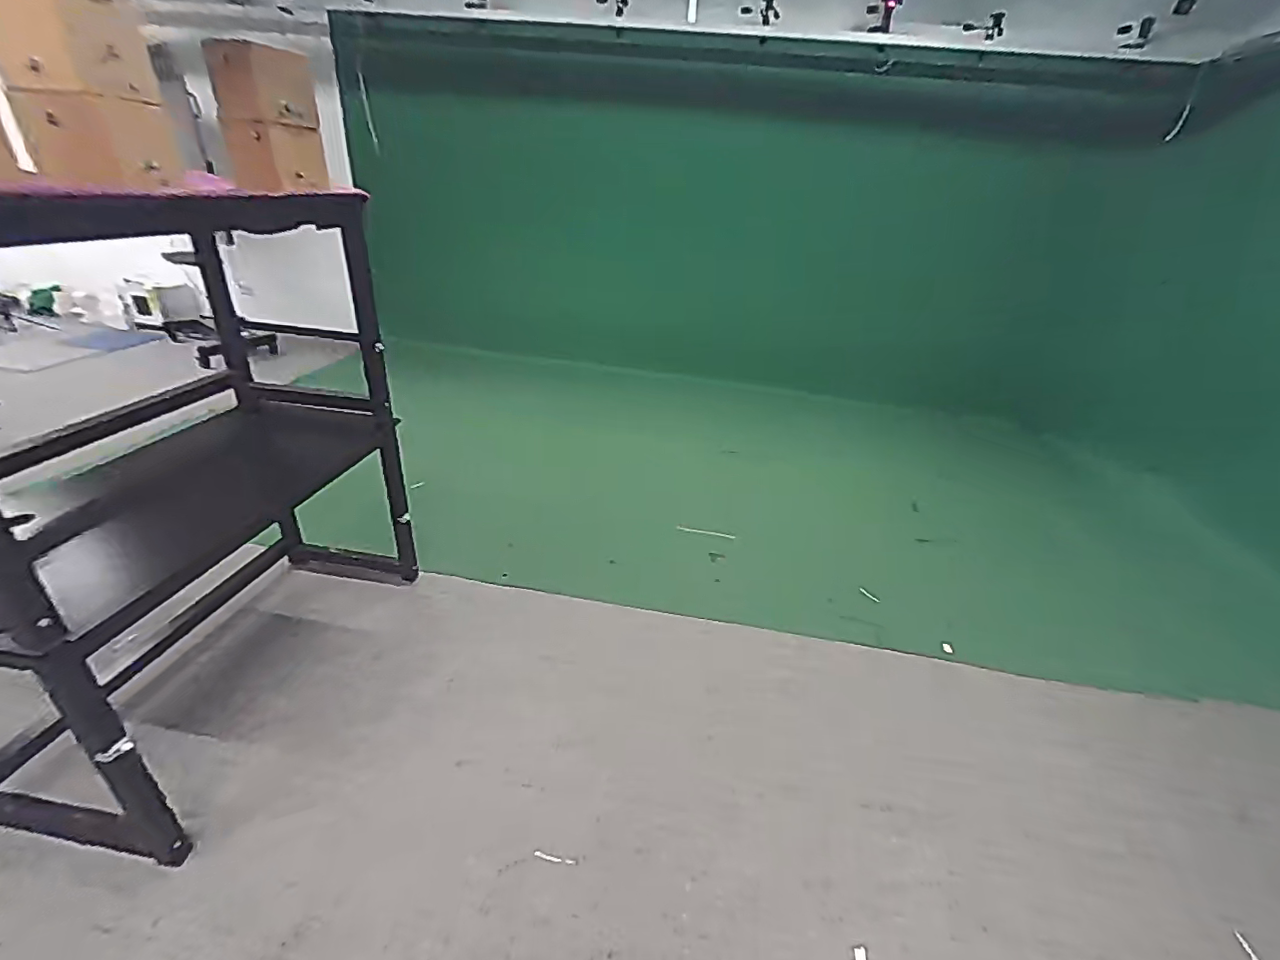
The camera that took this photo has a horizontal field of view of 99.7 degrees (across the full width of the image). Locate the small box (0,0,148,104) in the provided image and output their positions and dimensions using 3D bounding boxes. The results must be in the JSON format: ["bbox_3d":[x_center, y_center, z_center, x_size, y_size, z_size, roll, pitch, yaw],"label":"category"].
[{"bbox_3d":[-1.104,-0.828,1.025,0.179,0.176,0.168,7,29,3],"label":"small box"}]

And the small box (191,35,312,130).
[{"bbox_3d":[-0.982,-1.008,1.380,0.179,0.176,0.168,17,33,16],"label":"small box"}]

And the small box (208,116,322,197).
[{"bbox_3d":[-1.003,-0.869,1.460,0.179,0.176,0.168,14,31,14],"label":"small box"}]
